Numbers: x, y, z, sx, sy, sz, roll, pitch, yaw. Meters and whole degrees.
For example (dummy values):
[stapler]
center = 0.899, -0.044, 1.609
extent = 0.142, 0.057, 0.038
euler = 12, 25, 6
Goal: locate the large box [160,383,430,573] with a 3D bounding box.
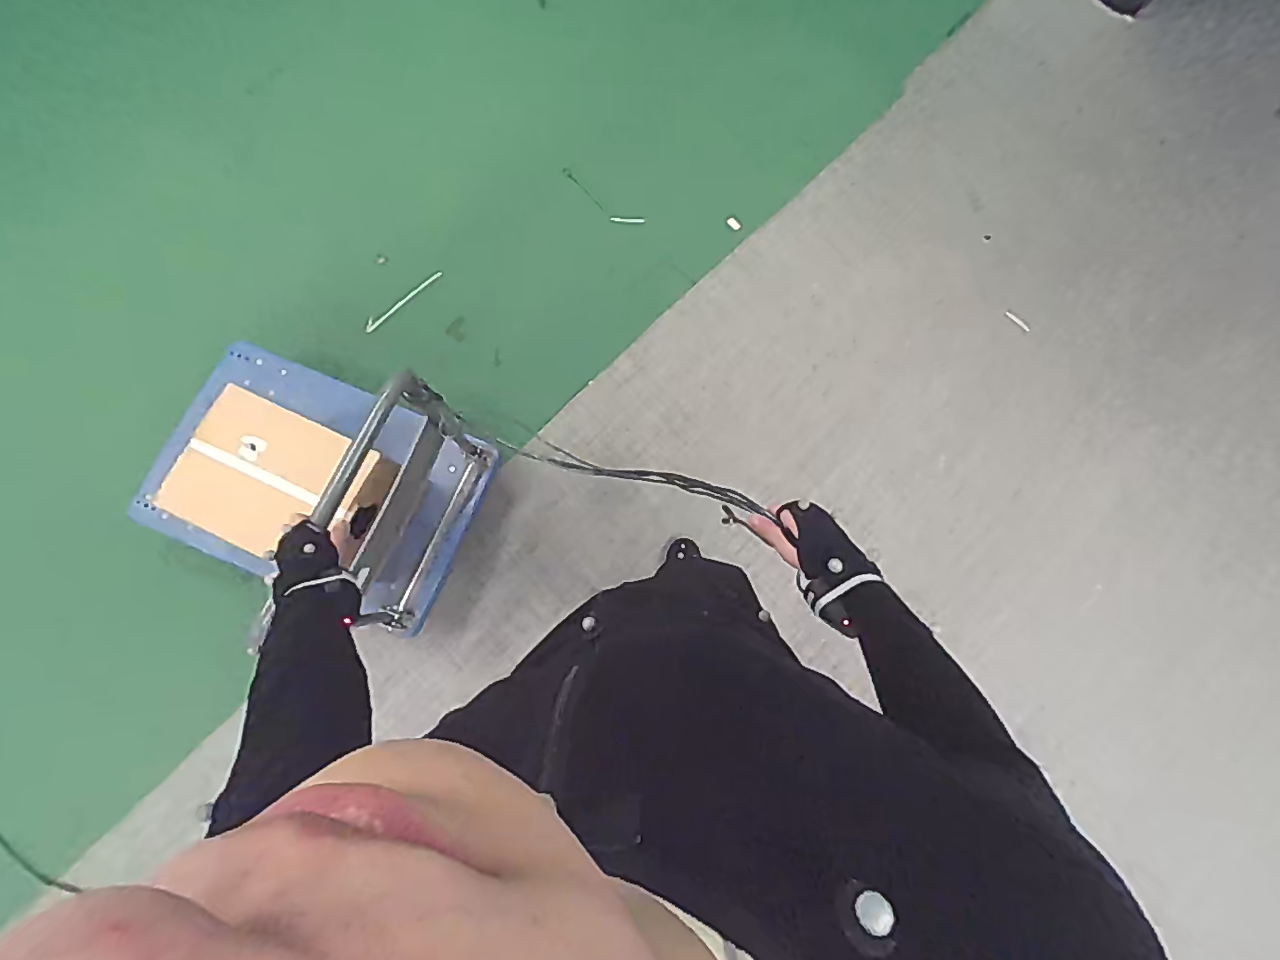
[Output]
[large box]
center = -0.820, 0.016, 1.350
extent = 0.408, 0.320, 0.320
euler = 25, 79, 4
